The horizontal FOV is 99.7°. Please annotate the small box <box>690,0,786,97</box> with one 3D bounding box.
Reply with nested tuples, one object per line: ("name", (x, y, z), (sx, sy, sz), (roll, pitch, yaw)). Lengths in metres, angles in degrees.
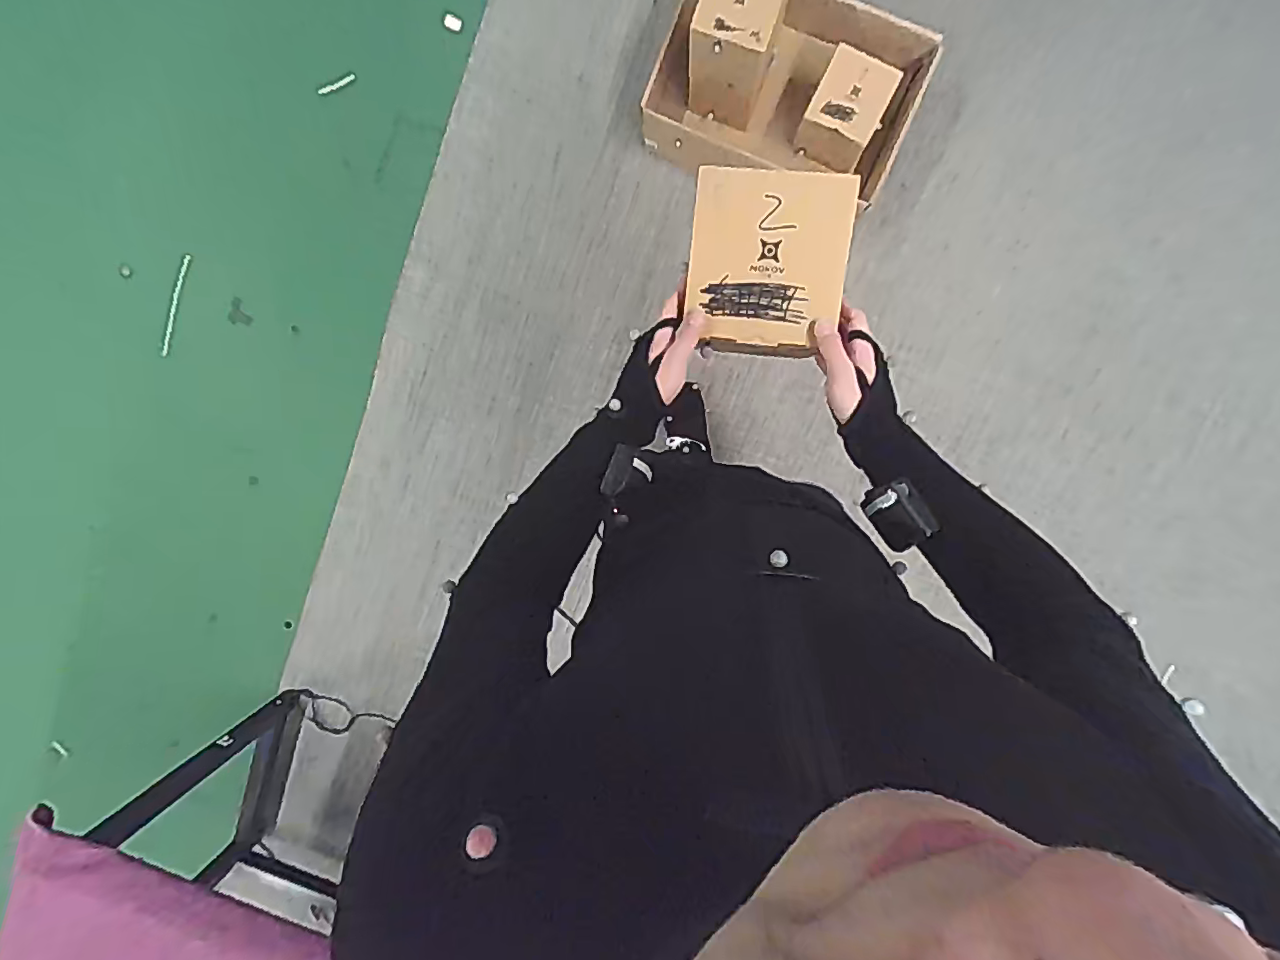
("small box", (0.211, -0.989, 1.171), (0.168, 0.176, 0.179), (20, 98, 1))
